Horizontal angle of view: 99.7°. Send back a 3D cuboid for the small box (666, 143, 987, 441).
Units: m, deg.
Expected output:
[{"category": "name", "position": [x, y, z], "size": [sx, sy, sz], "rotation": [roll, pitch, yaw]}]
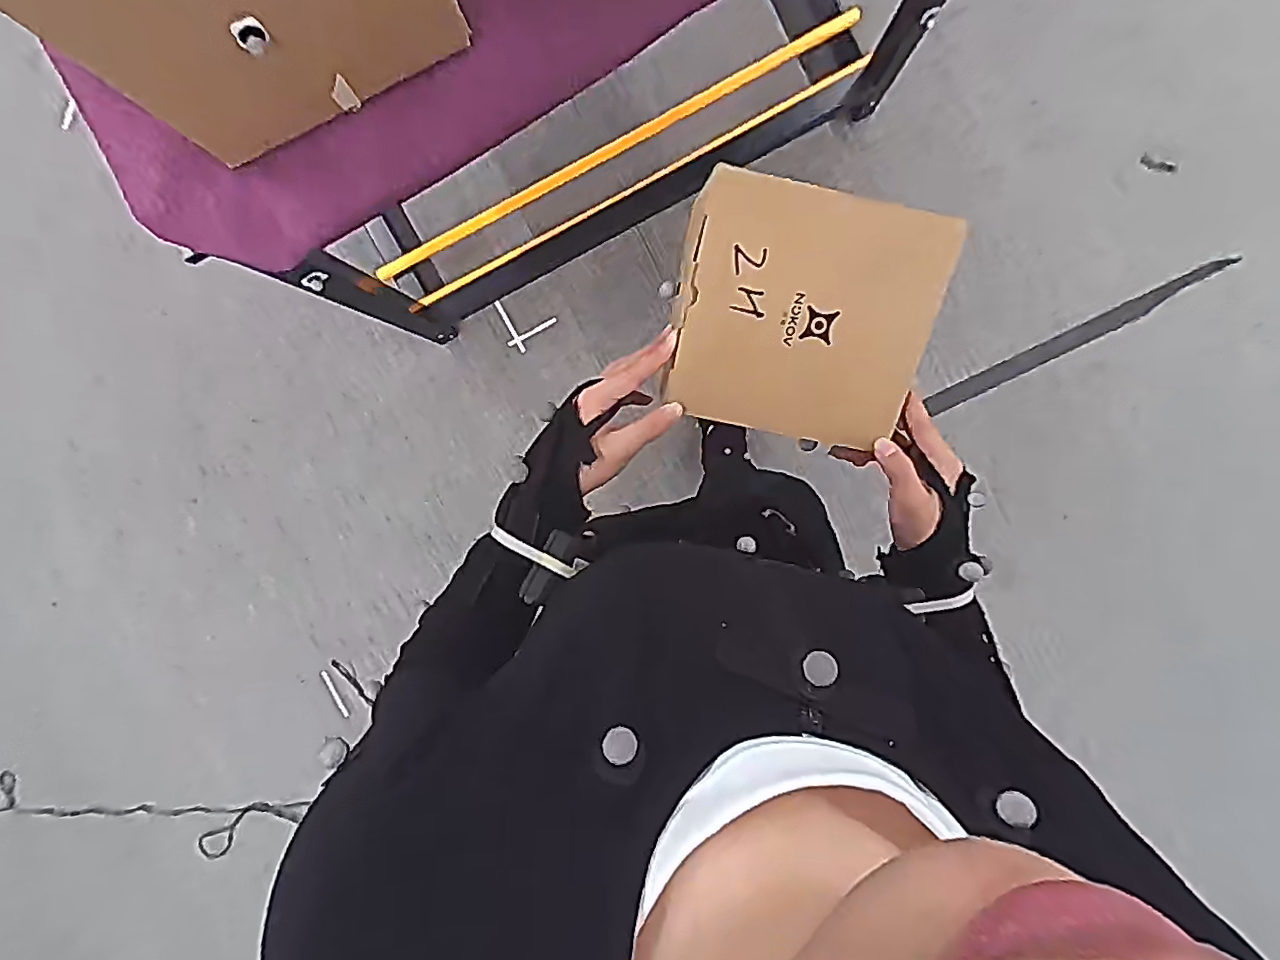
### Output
[{"category": "small box", "position": [0.124, -0.146, 0.442], "size": [0.179, 0.176, 0.168], "rotation": [11, 109, -3]}]
